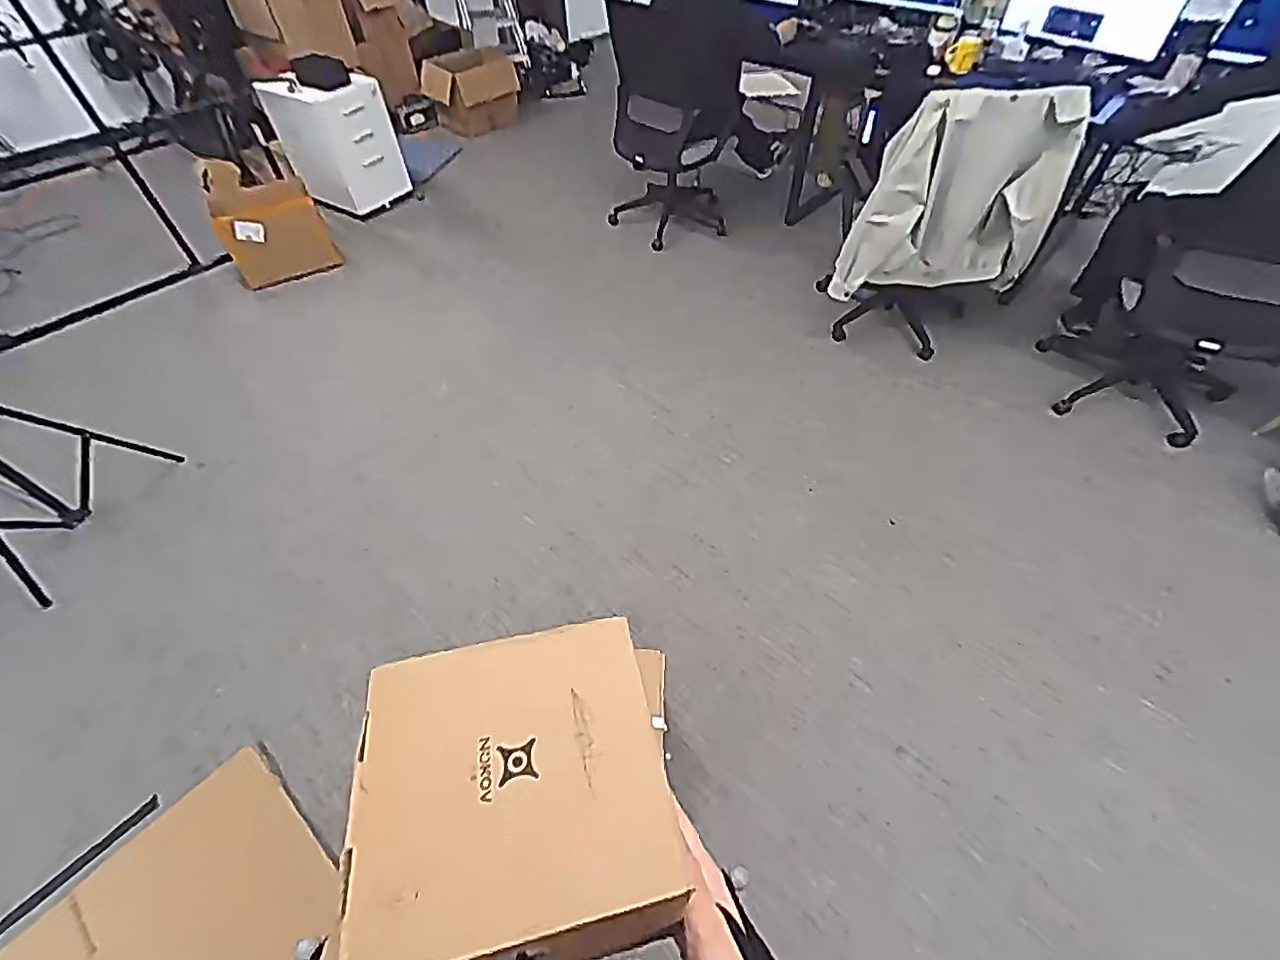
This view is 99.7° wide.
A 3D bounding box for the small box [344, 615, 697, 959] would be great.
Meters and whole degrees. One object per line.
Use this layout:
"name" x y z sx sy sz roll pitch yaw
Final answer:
"small box" -0.071 0.222 0.372 0.179 0.176 0.168 -9 45 -11
